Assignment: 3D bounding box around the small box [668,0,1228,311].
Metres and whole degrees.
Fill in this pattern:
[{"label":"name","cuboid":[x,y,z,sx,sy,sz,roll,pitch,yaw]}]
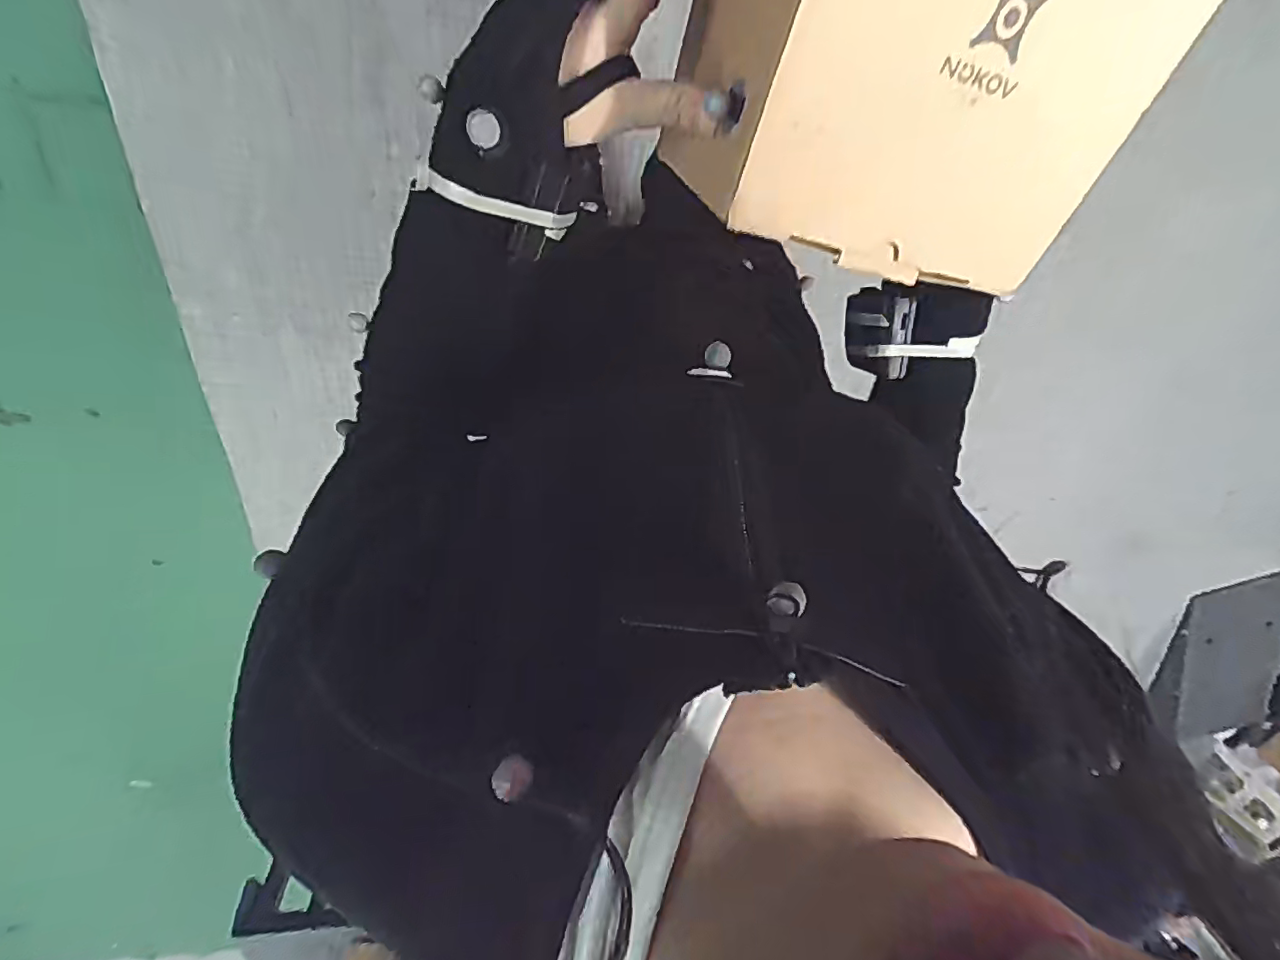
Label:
[{"label":"small box","cuboid":[0.124,-0.214,0.270,0.168,0.176,0.179,6,129,-17]}]
